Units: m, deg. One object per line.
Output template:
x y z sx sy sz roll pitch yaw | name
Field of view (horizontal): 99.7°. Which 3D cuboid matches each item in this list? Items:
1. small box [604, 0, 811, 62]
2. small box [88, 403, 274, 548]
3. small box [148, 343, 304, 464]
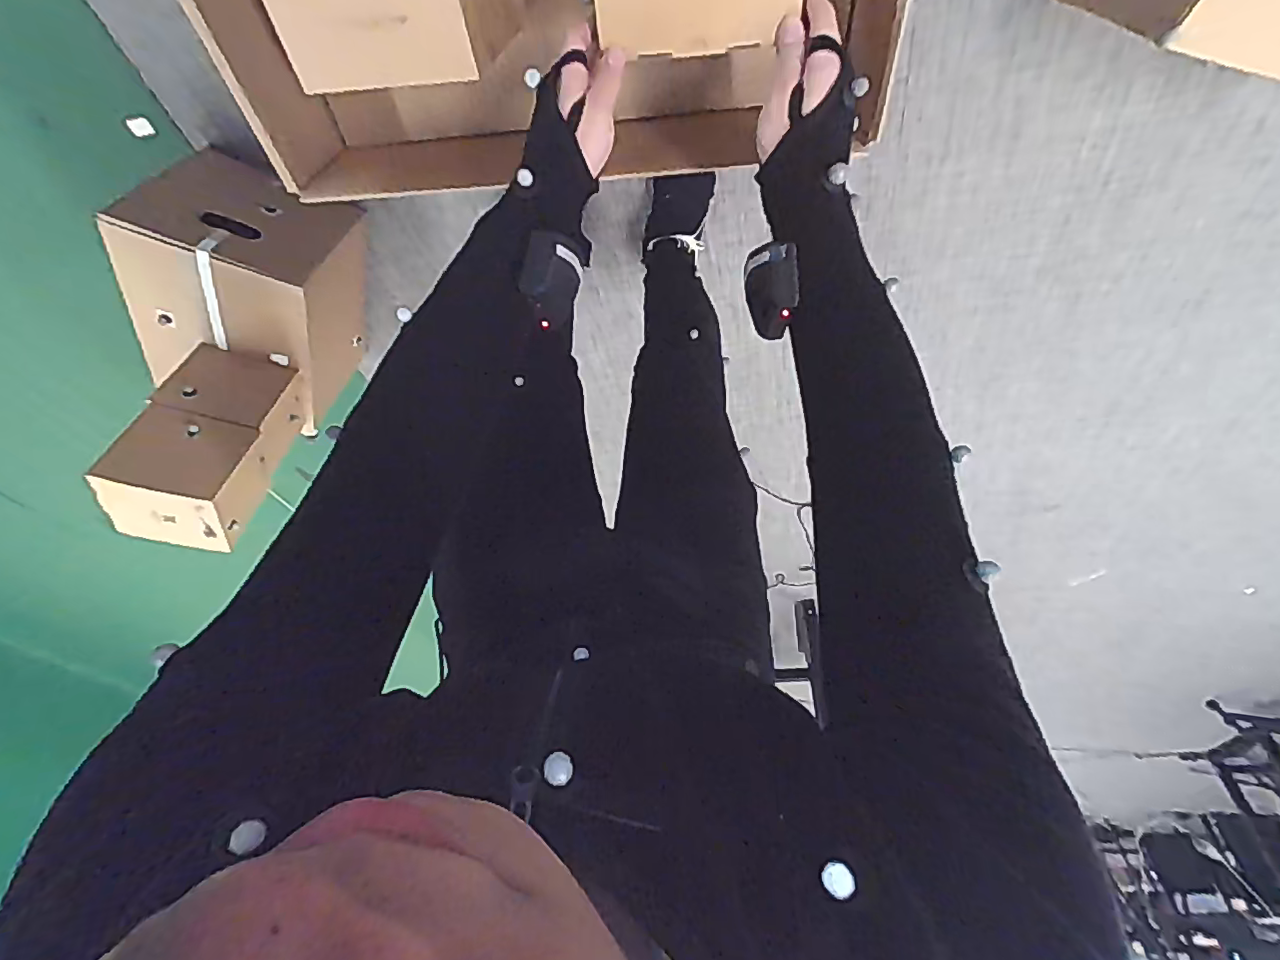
0.051 -0.471 0.432 0.168 0.176 0.179 -2 143 4 | small box
-0.783 -0.010 0.947 0.179 0.176 0.168 16 139 -15 | small box
-0.787 -0.138 1.050 0.179 0.176 0.168 16 139 -16 | small box
